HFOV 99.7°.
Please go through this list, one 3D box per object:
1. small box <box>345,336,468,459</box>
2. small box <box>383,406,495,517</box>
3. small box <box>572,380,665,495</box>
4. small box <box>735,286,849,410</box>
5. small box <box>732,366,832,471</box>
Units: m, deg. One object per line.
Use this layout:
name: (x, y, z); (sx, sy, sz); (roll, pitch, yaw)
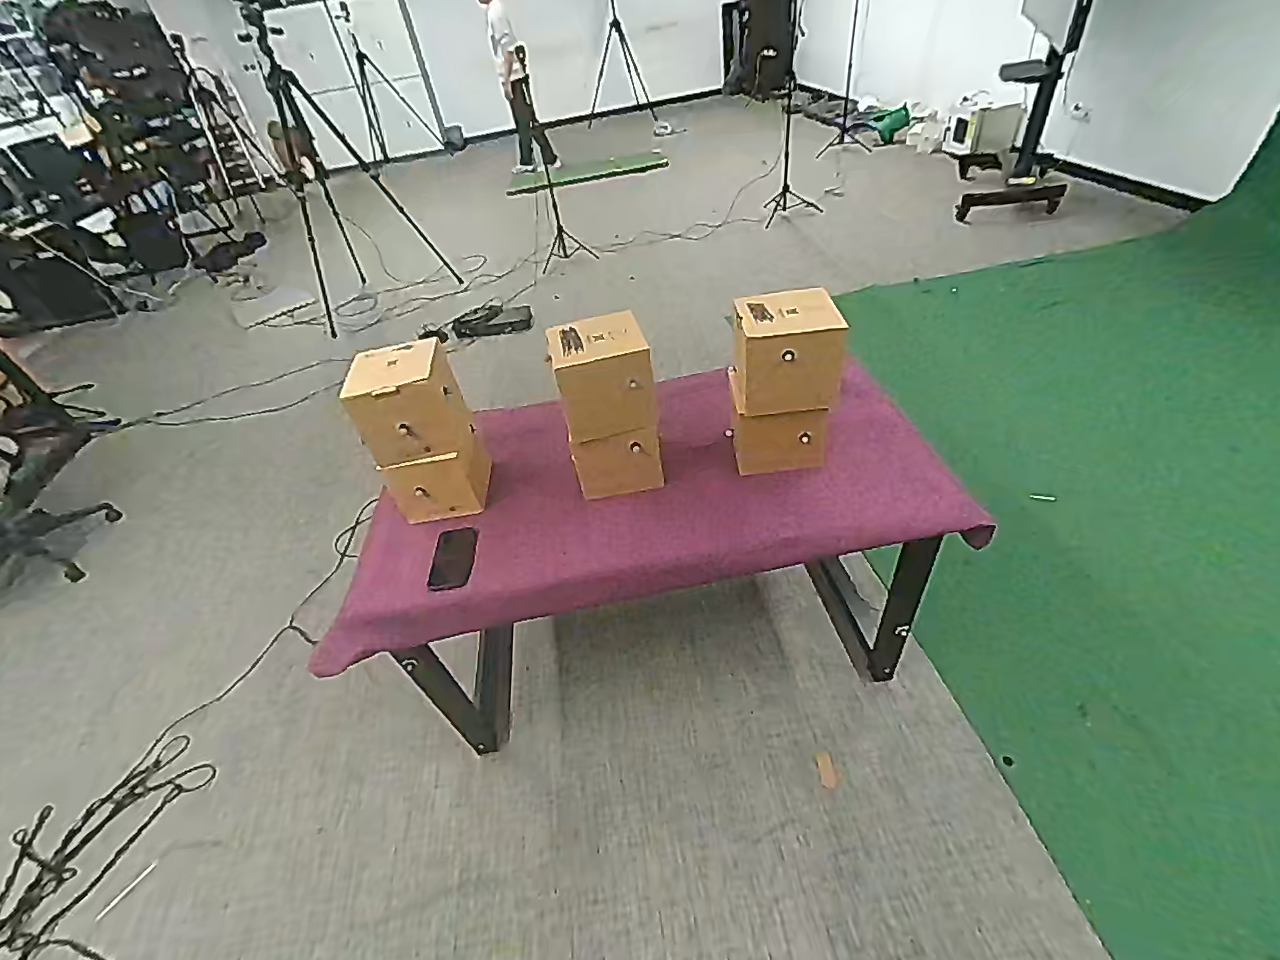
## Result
small box: (-0.454, -0.160, 1.086); (0.168, 0.176, 0.179); (-13, 43, -3)
small box: (-0.430, -0.035, 1.190); (0.168, 0.176, 0.179); (-10, 42, 2)
small box: (-0.044, -0.089, 1.166); (0.179, 0.176, 0.168); (-10, 42, 1)
small box: (0.280, -0.247, 1.029); (0.179, 0.176, 0.168); (-6, 42, 5)
small box: (0.293, -0.137, 1.151); (0.179, 0.176, 0.168); (-6, 42, 6)
